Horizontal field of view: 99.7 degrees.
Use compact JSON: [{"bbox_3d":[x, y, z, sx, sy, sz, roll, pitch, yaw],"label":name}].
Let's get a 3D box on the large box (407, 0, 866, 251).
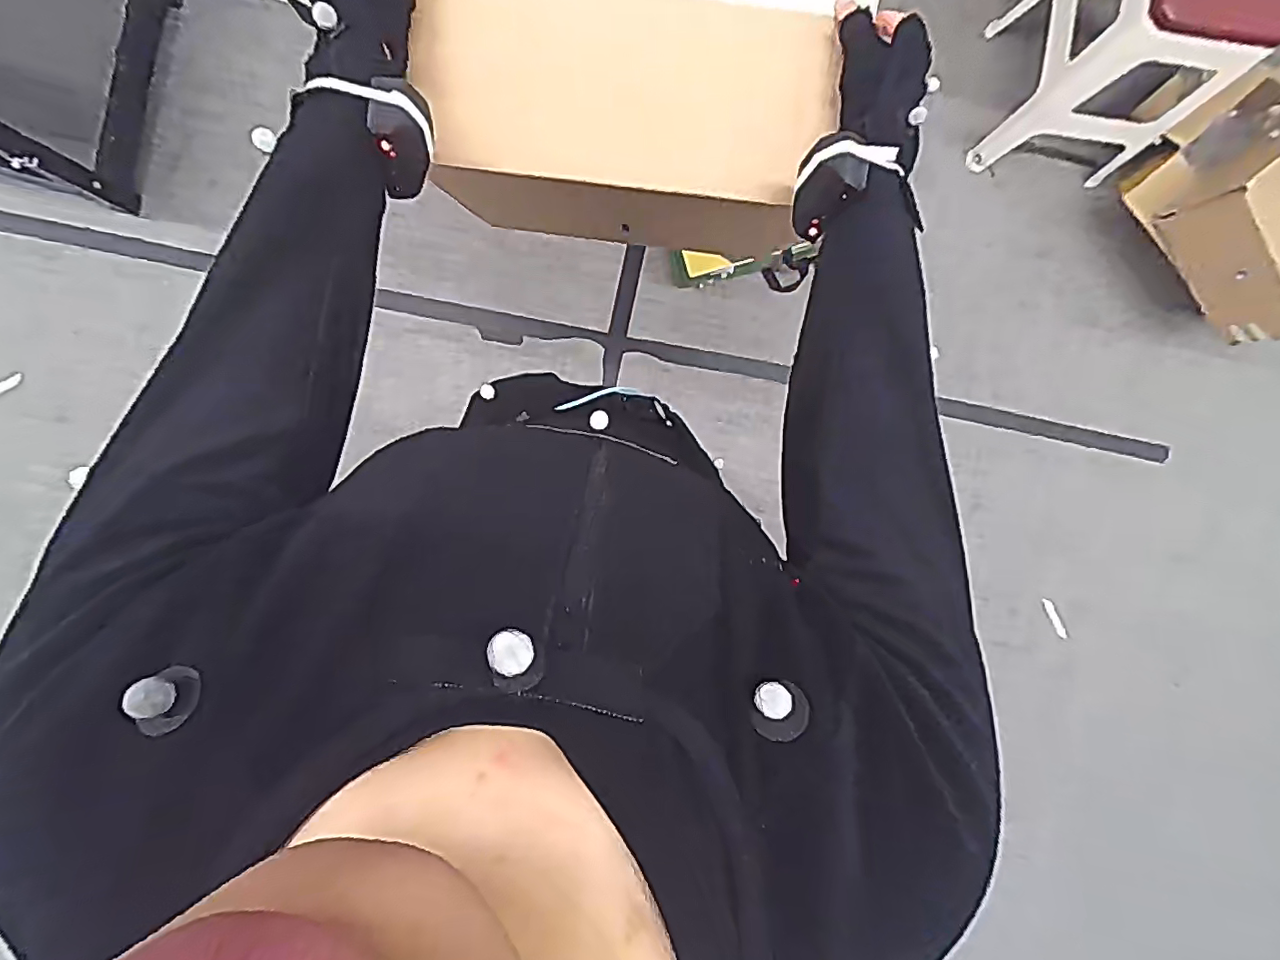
[{"bbox_3d":[0.000,-0.460,0.610,0.408,0.320,0.320,6,103,-2],"label":"large box"}]
